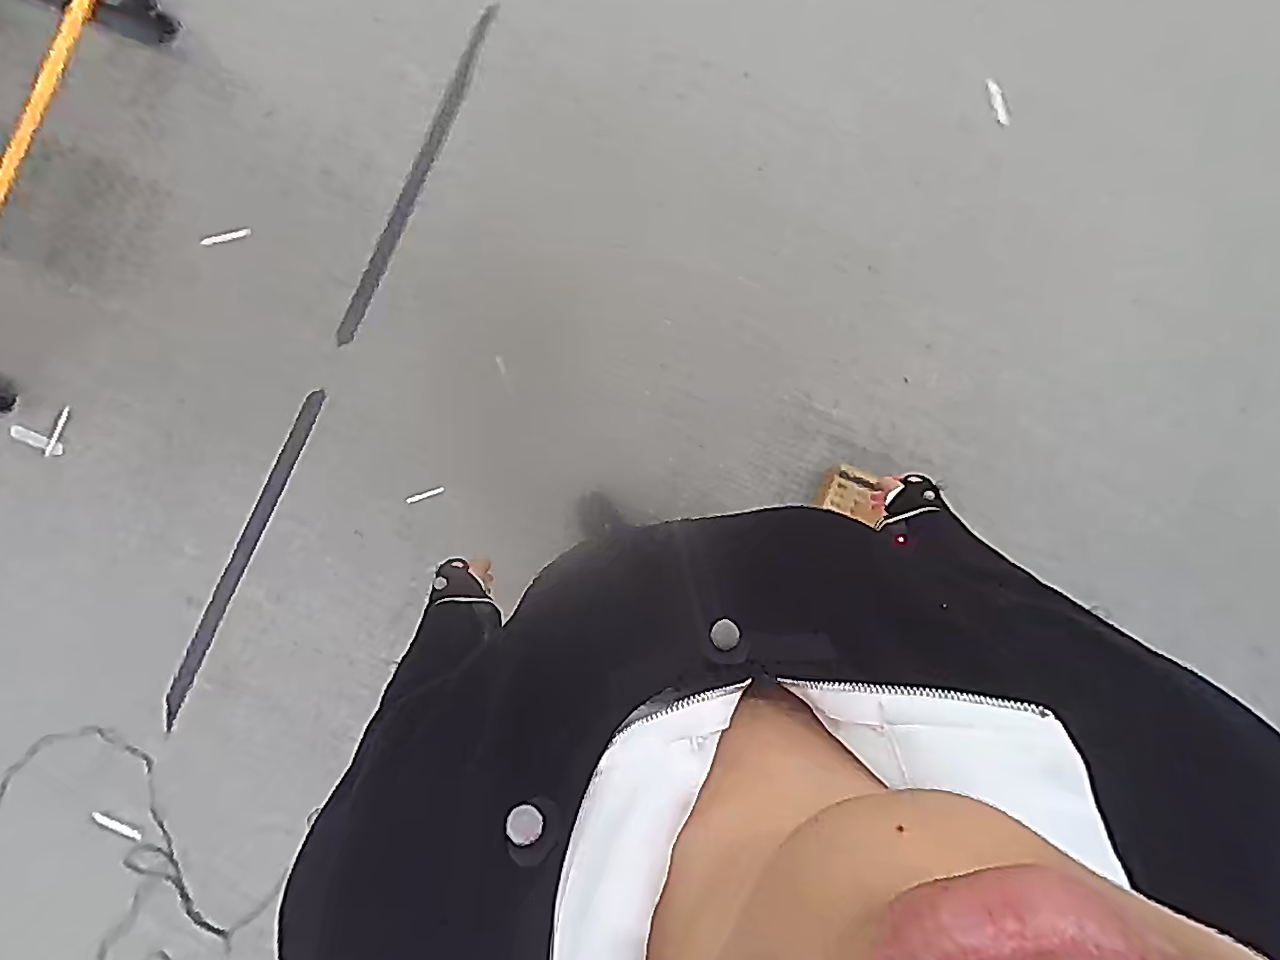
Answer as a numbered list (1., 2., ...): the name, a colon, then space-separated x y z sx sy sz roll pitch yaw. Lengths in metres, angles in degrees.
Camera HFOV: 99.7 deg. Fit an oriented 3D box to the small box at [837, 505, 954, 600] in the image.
1. small box: 0.611 0.170 1.319 0.179 0.176 0.168 25 89 1
